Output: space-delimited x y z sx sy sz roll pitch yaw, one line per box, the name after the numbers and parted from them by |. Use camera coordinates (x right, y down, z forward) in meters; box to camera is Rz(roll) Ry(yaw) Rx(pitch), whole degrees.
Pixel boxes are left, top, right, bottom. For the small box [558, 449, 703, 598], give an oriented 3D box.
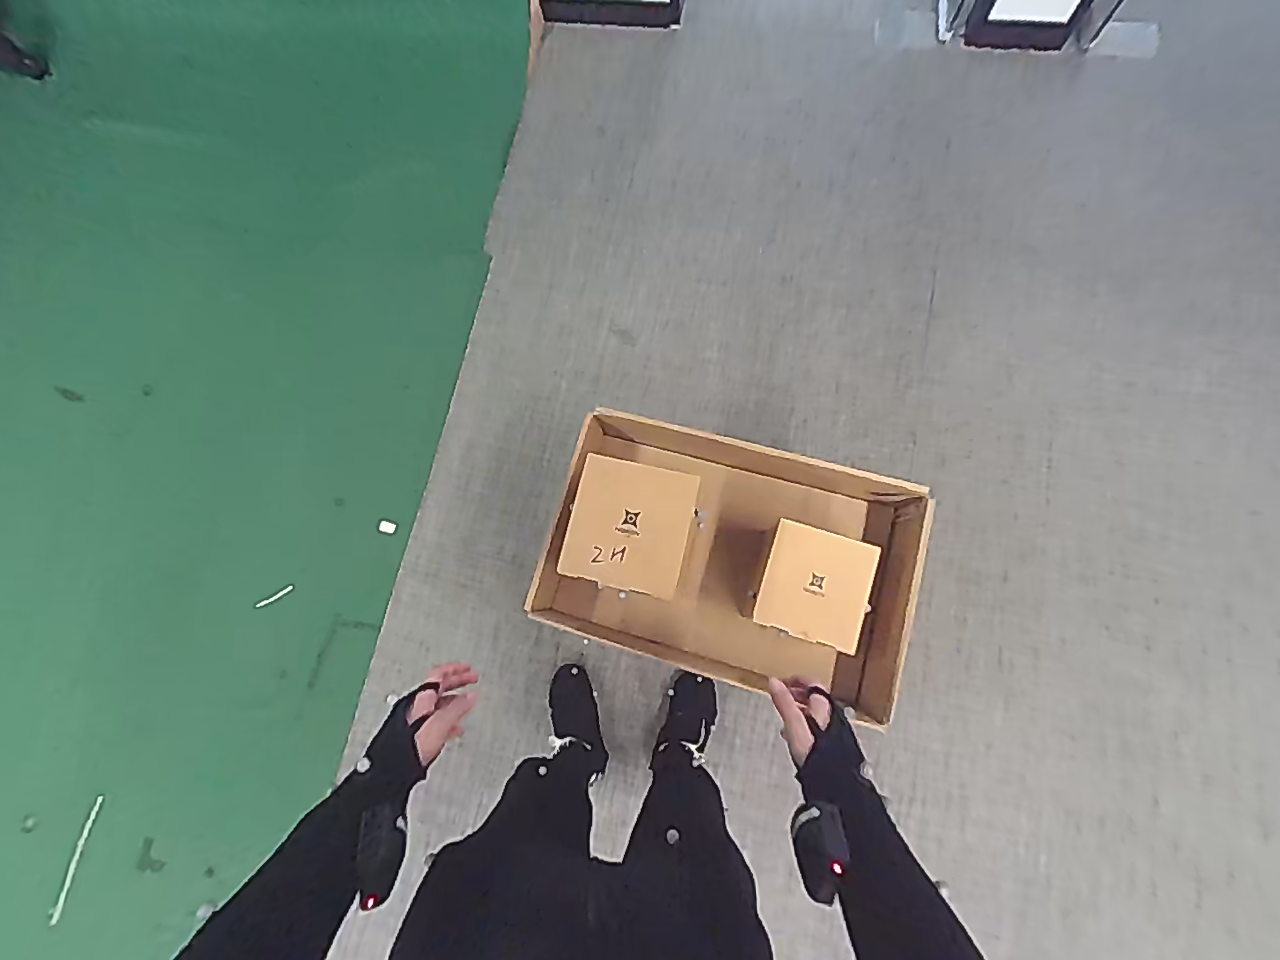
-0.006 0.073 0.813 0.168 0.176 0.179 13 79 9 | small box
